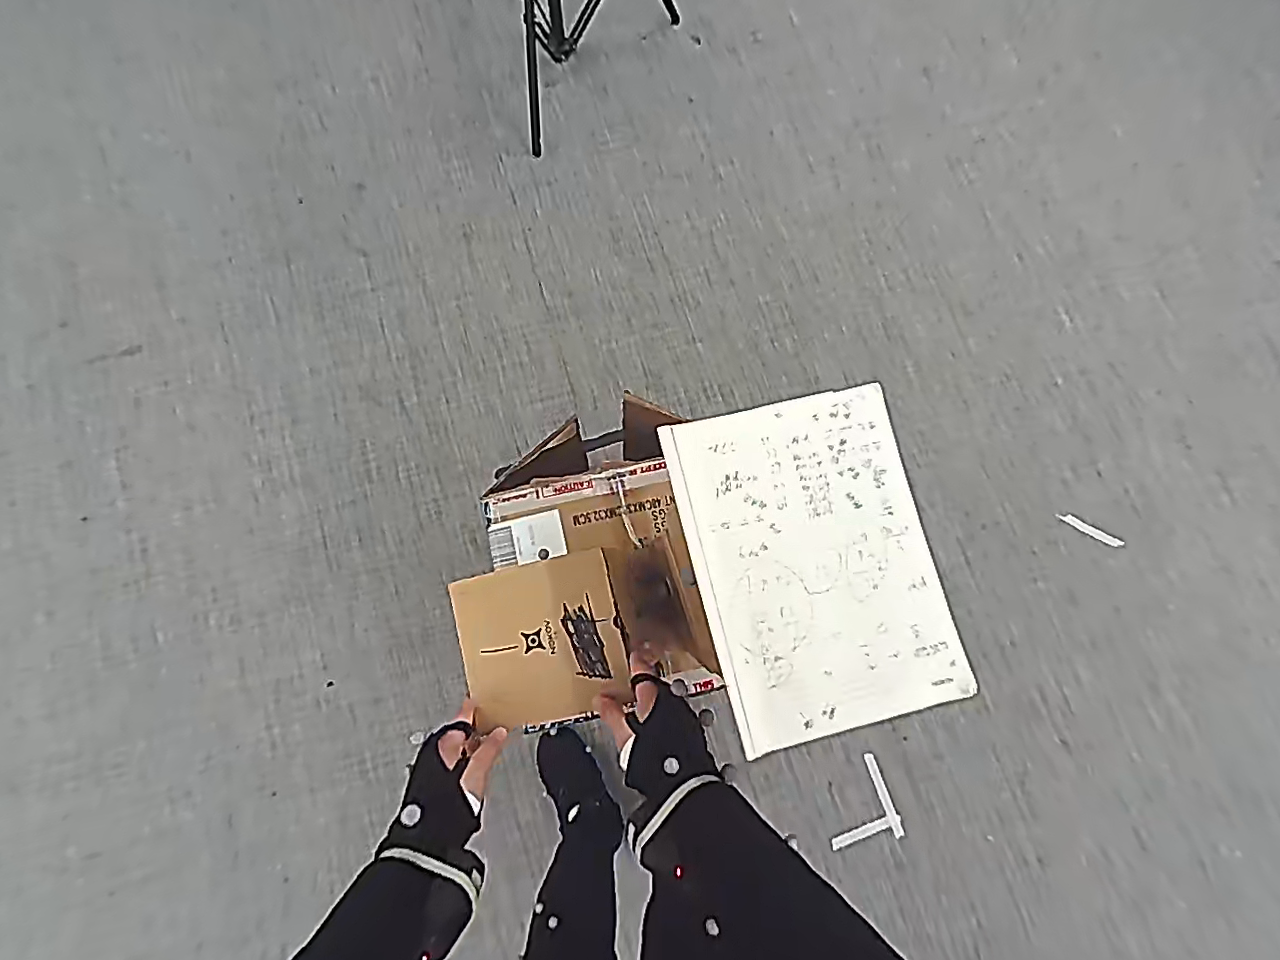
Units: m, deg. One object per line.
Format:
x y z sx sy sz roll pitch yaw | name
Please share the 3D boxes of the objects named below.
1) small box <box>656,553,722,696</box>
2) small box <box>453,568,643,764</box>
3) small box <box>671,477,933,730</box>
0.130 0.149 0.688 0.179 0.176 0.168 -17 81 -6 | small box
-0.097 0.206 0.649 0.179 0.176 0.168 -14 83 2 | small box
0.136 0.113 0.530 0.168 0.176 0.179 -15 82 -7 | small box
